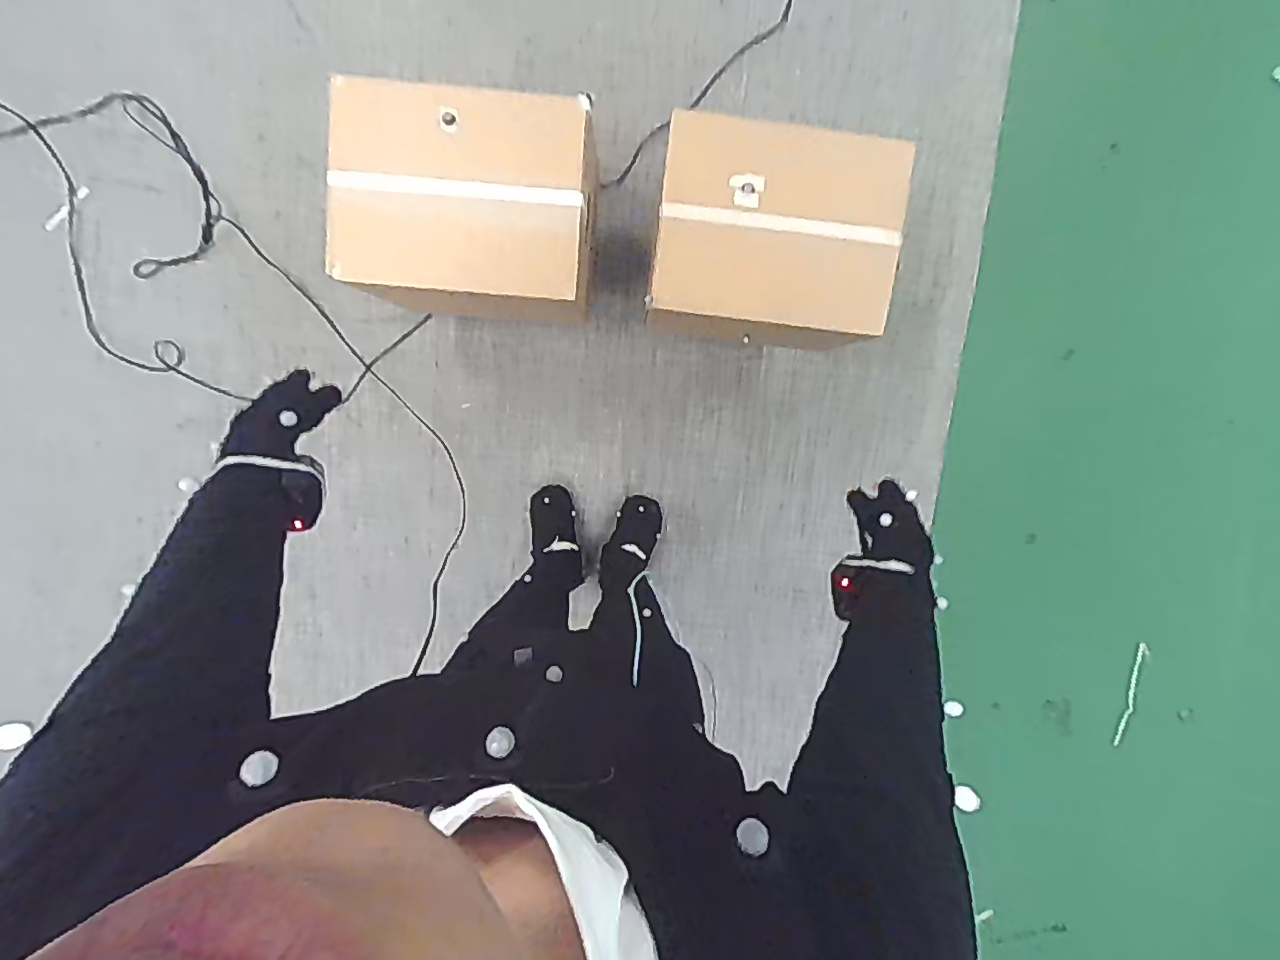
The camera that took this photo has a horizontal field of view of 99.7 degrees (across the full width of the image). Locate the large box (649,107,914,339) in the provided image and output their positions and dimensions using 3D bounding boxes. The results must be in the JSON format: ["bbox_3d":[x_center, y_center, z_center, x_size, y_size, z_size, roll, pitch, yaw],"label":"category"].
[{"bbox_3d":[0.236,-0.459,1.048,0.408,0.320,0.320,7,99,-2],"label":"large box"}]
